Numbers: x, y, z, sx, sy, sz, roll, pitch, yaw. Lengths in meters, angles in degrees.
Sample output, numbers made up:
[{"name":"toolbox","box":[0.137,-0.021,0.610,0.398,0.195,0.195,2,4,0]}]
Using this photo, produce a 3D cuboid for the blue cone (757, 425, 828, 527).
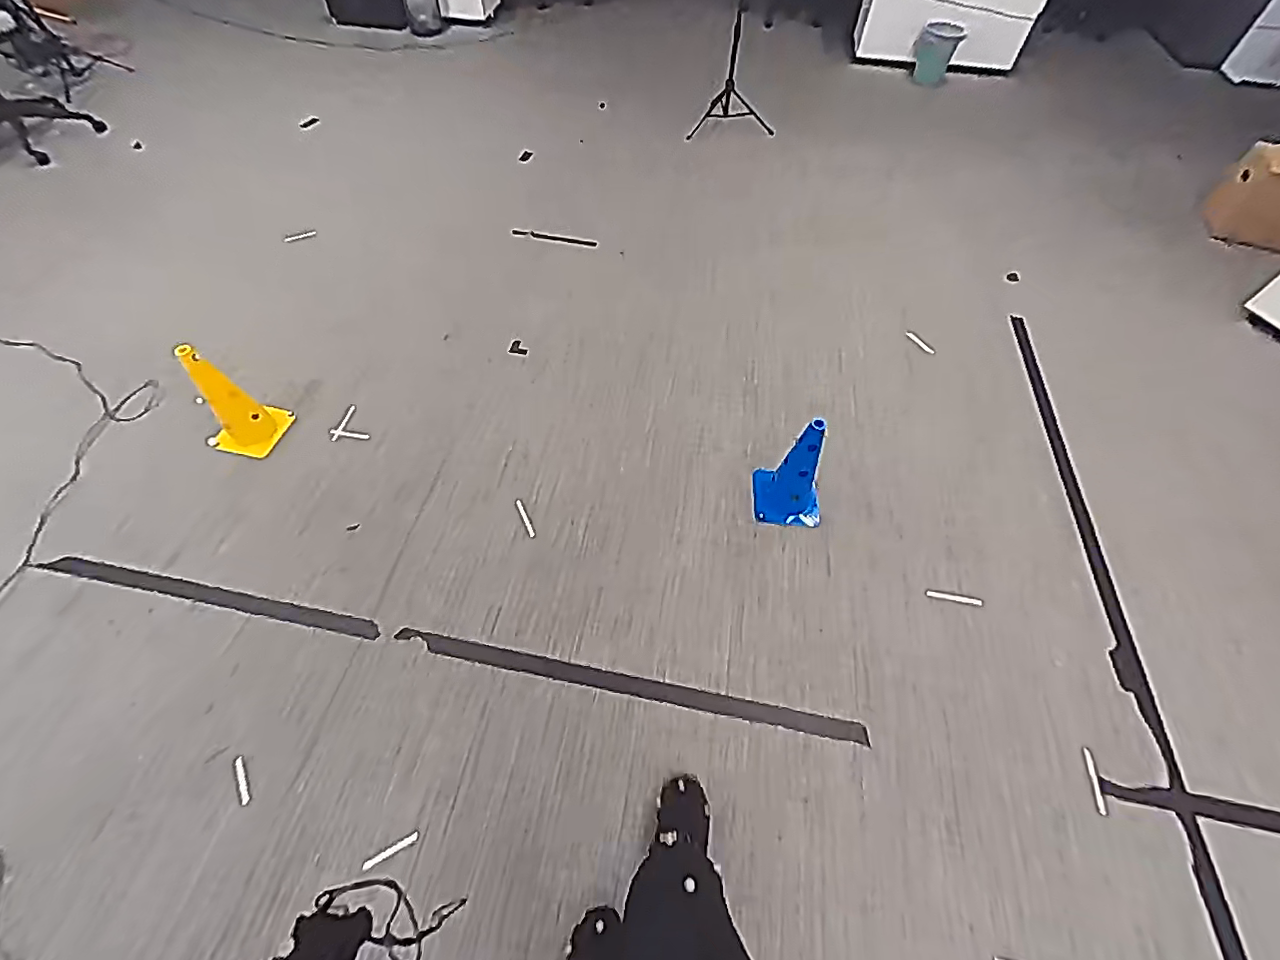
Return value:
[{"name":"blue cone","box":[0.467,-0.035,1.559,0.193,0.380,0.192,6,56,2]}]
